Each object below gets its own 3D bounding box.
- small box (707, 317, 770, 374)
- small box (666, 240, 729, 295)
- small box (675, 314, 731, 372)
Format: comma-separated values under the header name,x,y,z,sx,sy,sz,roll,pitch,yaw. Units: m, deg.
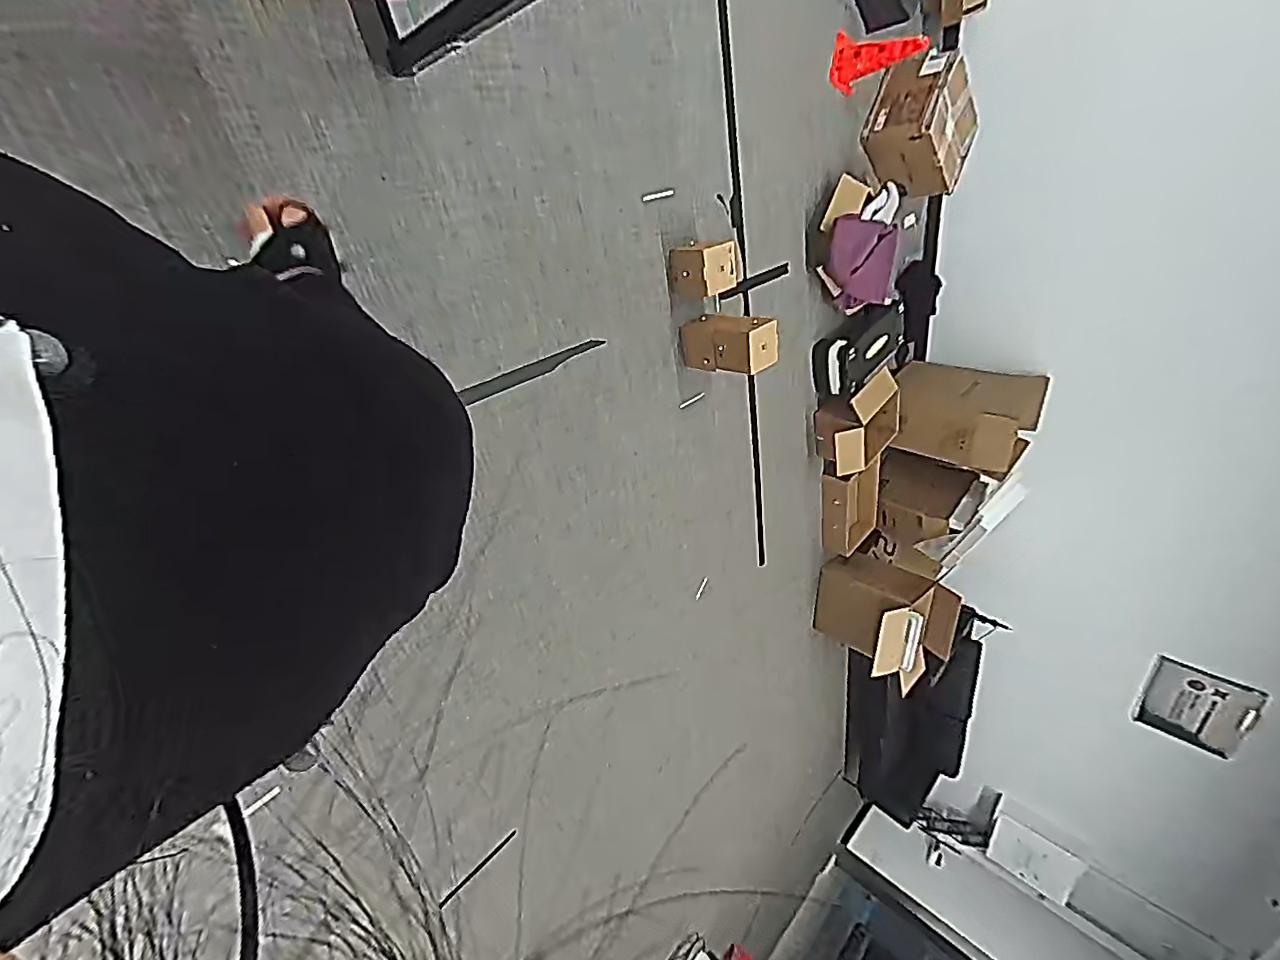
name,x,y,z,sx,sy,sz,roll,pitch,yaw
small box,0.380,-0.524,2.080,0.179,0.176,0.168,-31,126,-32
small box,0.212,-0.801,2.035,0.179,0.176,0.168,-31,126,-34
small box,0.260,-0.559,2.184,0.168,0.176,0.179,-34,128,-32
